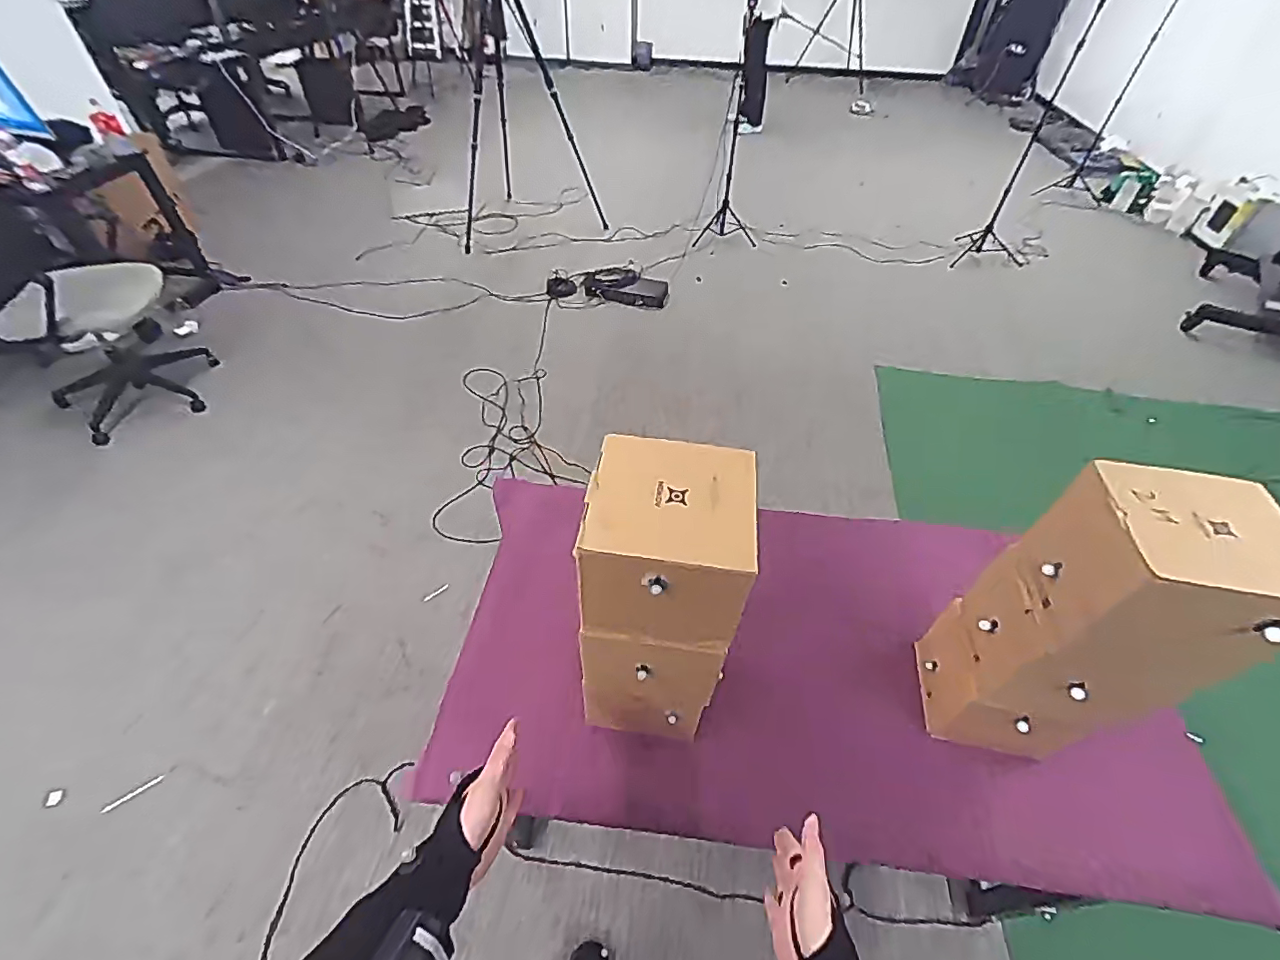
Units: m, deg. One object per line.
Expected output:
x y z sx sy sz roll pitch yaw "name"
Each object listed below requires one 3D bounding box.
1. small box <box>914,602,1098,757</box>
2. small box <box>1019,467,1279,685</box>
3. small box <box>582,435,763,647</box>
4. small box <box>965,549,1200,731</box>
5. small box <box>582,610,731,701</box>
0.571 0.325 0.870 0.179 0.176 0.168 10 48 7 "small box"
0.585 0.113 0.617 0.179 0.176 0.168 10 47 7 "small box"
0.037 0.073 0.620 0.179 0.176 0.168 9 48 3 "small box"
0.575 0.222 0.742 0.179 0.176 0.168 10 48 8 "small box"
0.025 0.185 0.739 0.179 0.176 0.168 7 47 3 "small box"
